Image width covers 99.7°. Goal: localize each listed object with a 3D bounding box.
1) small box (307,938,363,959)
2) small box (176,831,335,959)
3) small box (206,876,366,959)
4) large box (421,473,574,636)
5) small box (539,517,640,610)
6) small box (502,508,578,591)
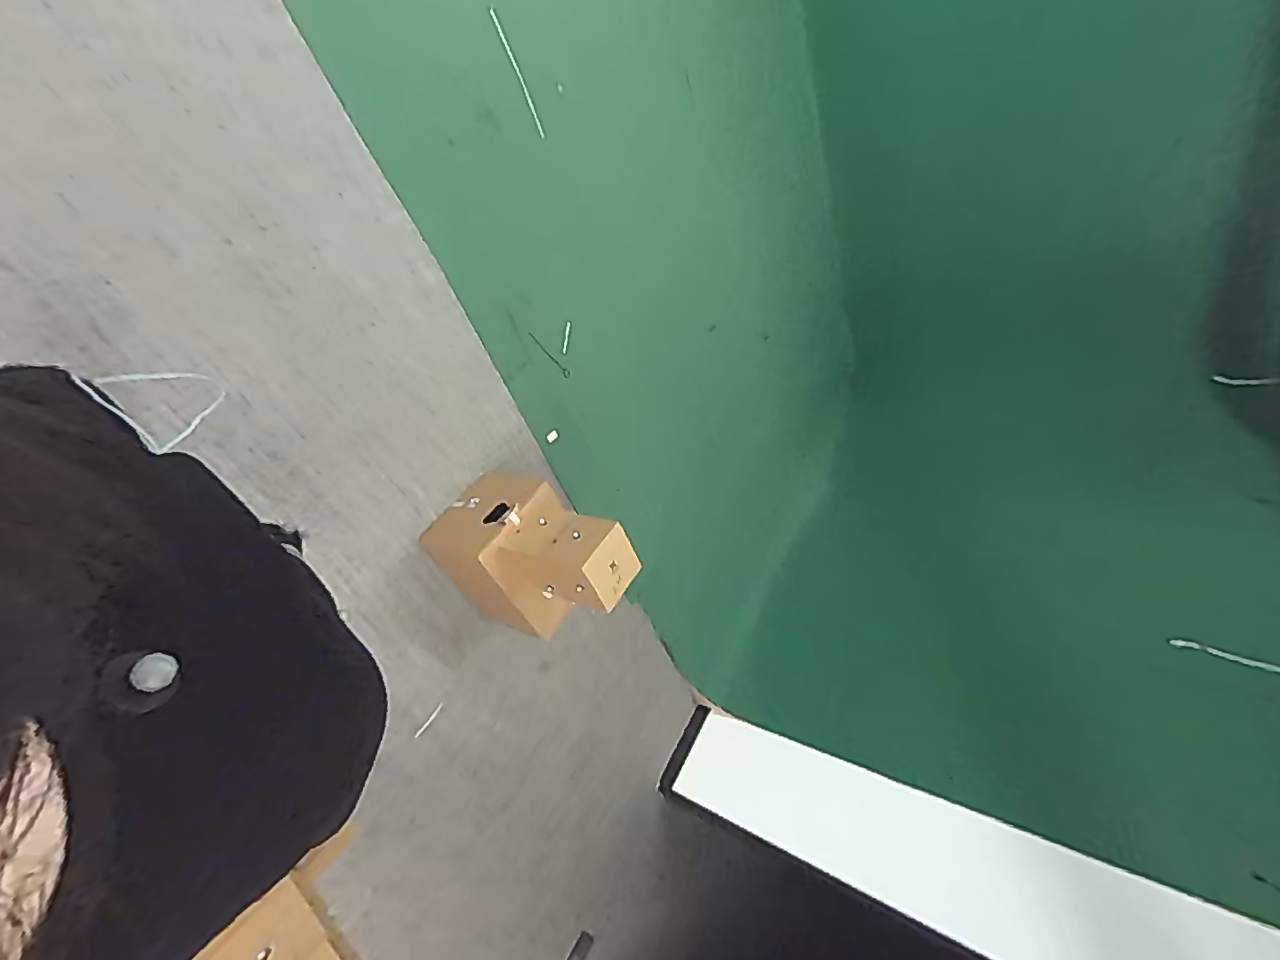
[{"bbox_3d":[-0.476,0.861,0.827,0.168,0.176,0.179,-42,127,-39],"label":"small box"},{"bbox_3d":[-0.733,0.826,1.028,0.179,0.176,0.168,-43,128,-40],"label":"small box"},{"bbox_3d":[-0.607,0.842,0.924,0.179,0.176,0.168,-42,128,-41],"label":"small box"},{"bbox_3d":[-0.409,0.230,1.740,0.320,0.320,0.408,-52,133,-33],"label":"large box"},{"bbox_3d":[-0.134,0.211,1.425,0.168,0.176,0.179,-50,131,-34],"label":"small box"},{"bbox_3d":[-0.257,0.193,1.533,0.168,0.176,0.179,-51,132,-34],"label":"small box"}]
